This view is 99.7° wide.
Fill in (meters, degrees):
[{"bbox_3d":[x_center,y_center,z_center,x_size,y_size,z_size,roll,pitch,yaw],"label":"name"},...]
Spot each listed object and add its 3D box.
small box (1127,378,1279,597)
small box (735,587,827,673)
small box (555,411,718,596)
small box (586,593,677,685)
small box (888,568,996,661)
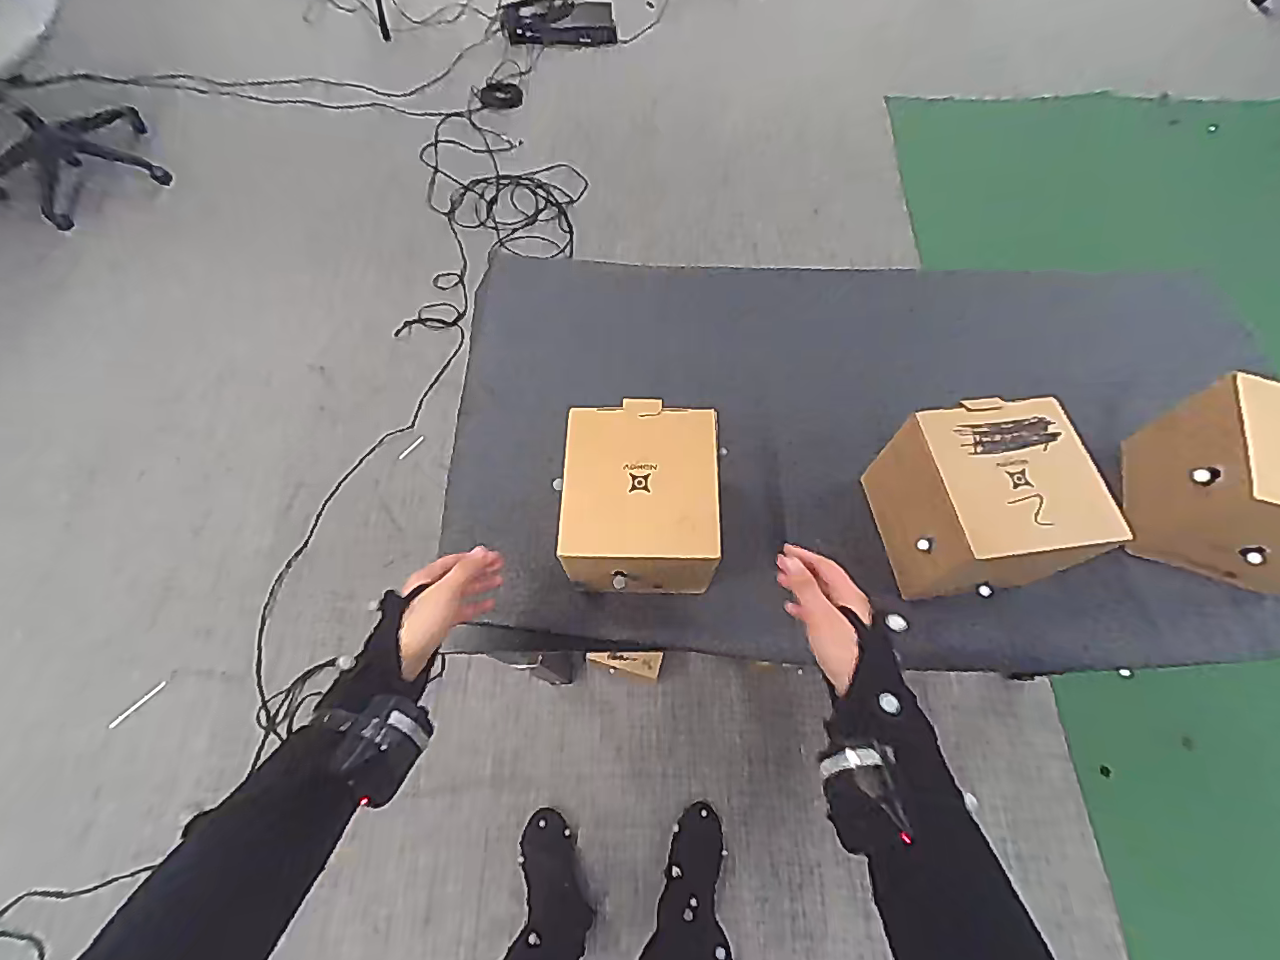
[{"bbox_3d":[0.720,0.017,0.632,0.168,0.176,0.179,19,64,9],"label":"small box"},{"bbox_3d":[0.326,0.362,1.284,0.168,0.176,0.179,-2,64,-1],"label":"small box"},{"bbox_3d":[0.001,0.036,0.637,0.168,0.176,0.179,1,66,1],"label":"small box"},{"bbox_3d":[-0.018,0.371,1.285,0.168,0.176,0.179,15,66,8],"label":"small box"},{"bbox_3d":[0.713,0.328,1.294,0.179,0.176,0.168,12,66,5],"label":"small box"}]
